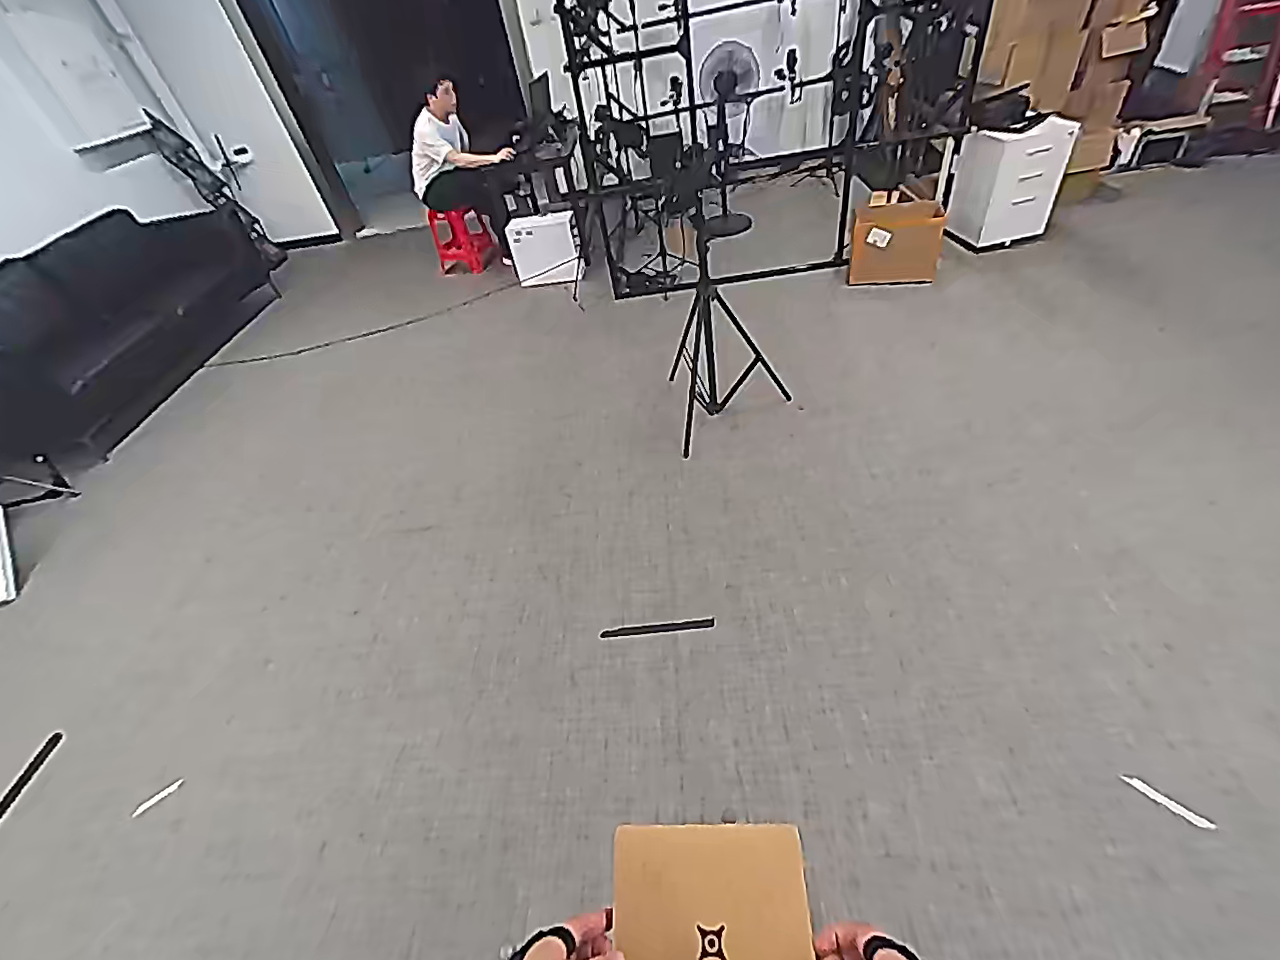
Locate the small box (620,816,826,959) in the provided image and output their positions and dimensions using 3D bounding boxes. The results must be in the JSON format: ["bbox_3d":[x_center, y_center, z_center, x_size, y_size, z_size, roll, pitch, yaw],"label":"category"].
[{"bbox_3d":[0.074,0.419,0.499,0.168,0.176,0.179,-5,56,6],"label":"small box"}]
